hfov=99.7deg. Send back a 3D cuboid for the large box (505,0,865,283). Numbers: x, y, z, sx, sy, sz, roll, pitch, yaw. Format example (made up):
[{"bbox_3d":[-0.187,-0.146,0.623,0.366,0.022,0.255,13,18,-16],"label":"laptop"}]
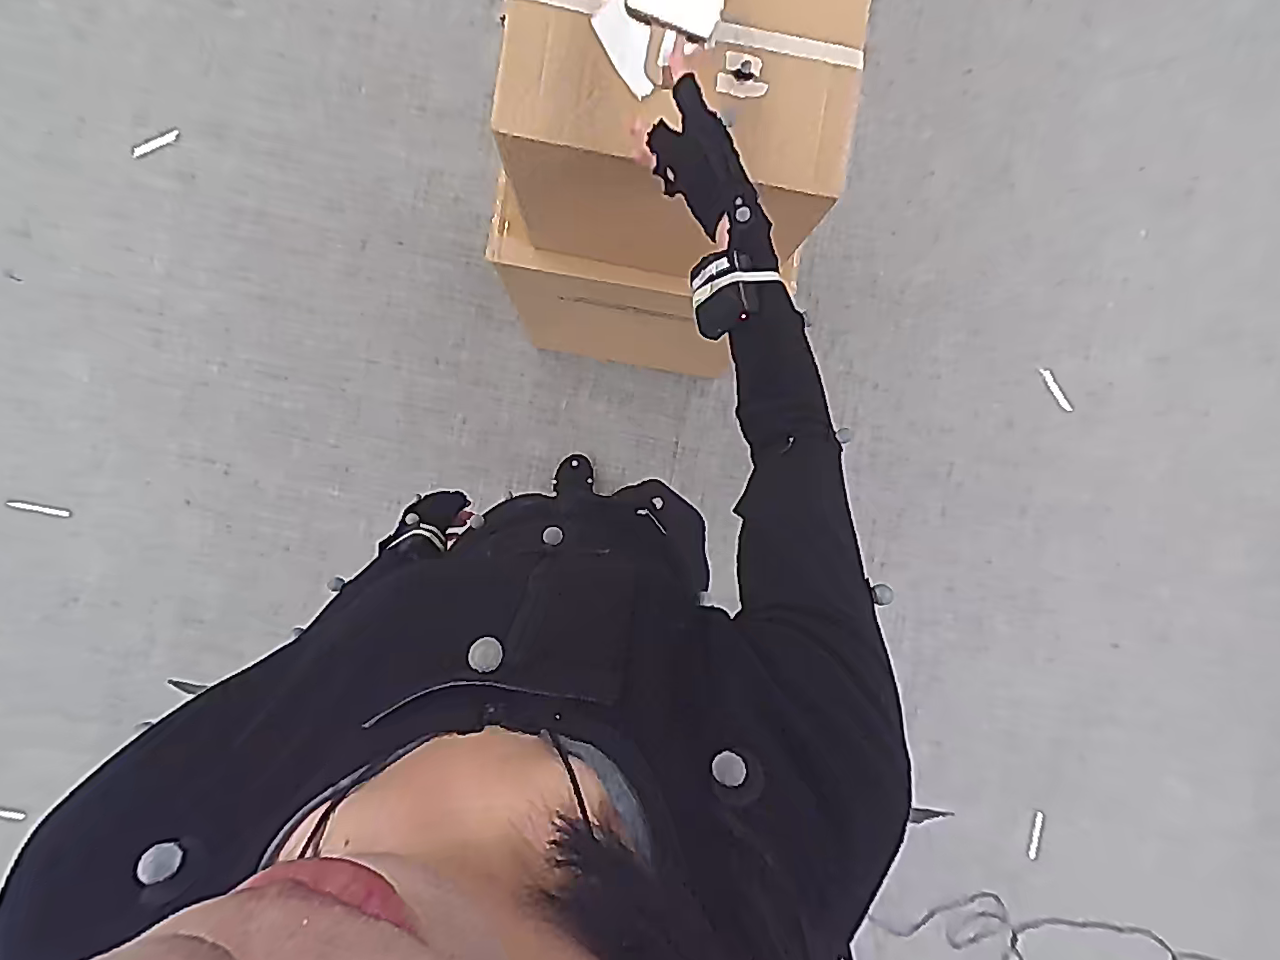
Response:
[{"bbox_3d":[0.047,-0.514,0.776,0.408,0.320,0.320,9,90,-5],"label":"large box"}]
